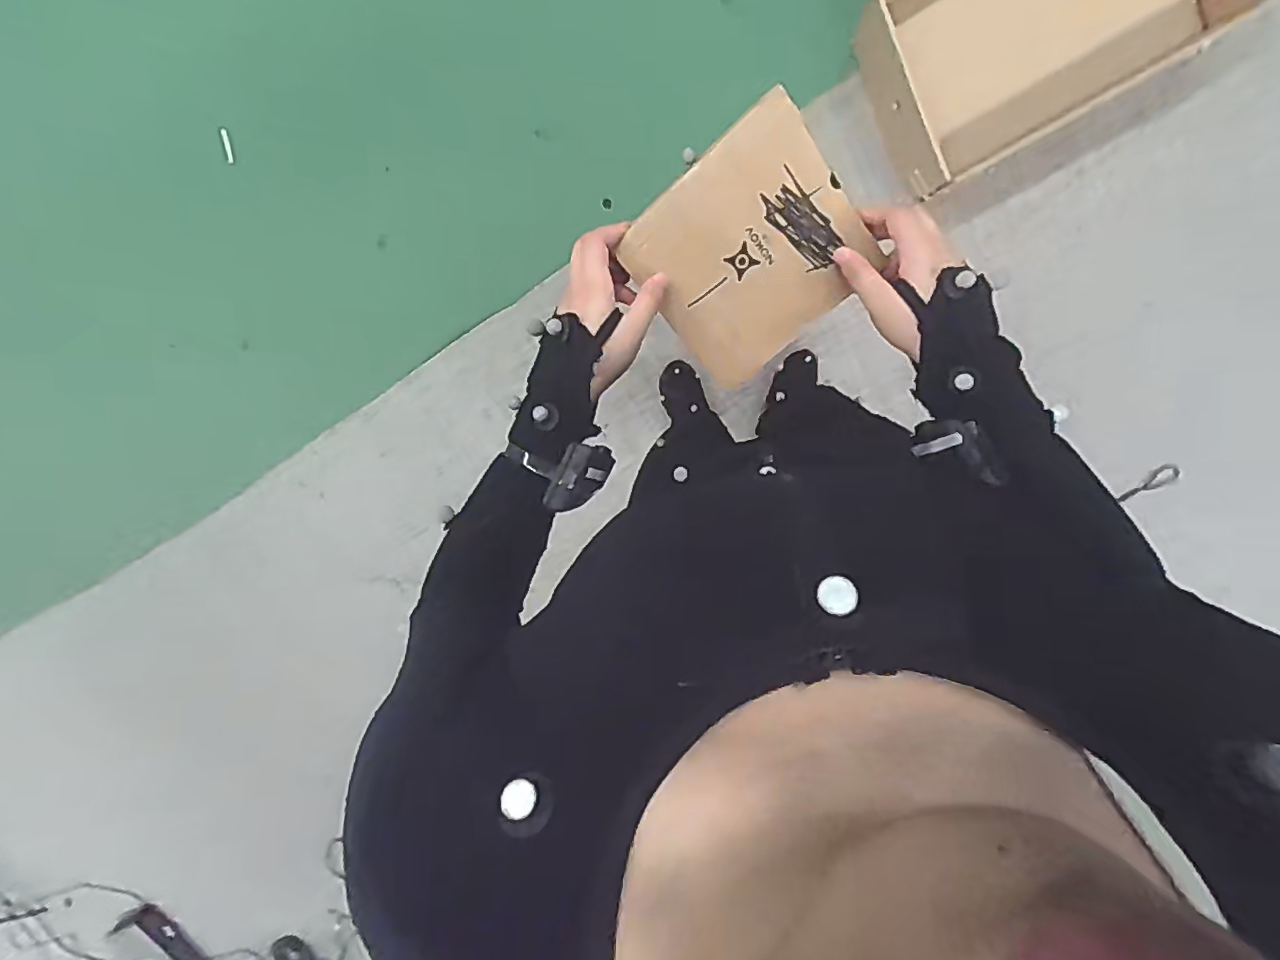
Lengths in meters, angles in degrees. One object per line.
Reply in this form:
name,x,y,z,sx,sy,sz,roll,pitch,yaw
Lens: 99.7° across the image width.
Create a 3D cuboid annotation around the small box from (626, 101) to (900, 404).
small box,0.098,-0.207,0.515,0.179,0.176,0.168,-38,110,14
